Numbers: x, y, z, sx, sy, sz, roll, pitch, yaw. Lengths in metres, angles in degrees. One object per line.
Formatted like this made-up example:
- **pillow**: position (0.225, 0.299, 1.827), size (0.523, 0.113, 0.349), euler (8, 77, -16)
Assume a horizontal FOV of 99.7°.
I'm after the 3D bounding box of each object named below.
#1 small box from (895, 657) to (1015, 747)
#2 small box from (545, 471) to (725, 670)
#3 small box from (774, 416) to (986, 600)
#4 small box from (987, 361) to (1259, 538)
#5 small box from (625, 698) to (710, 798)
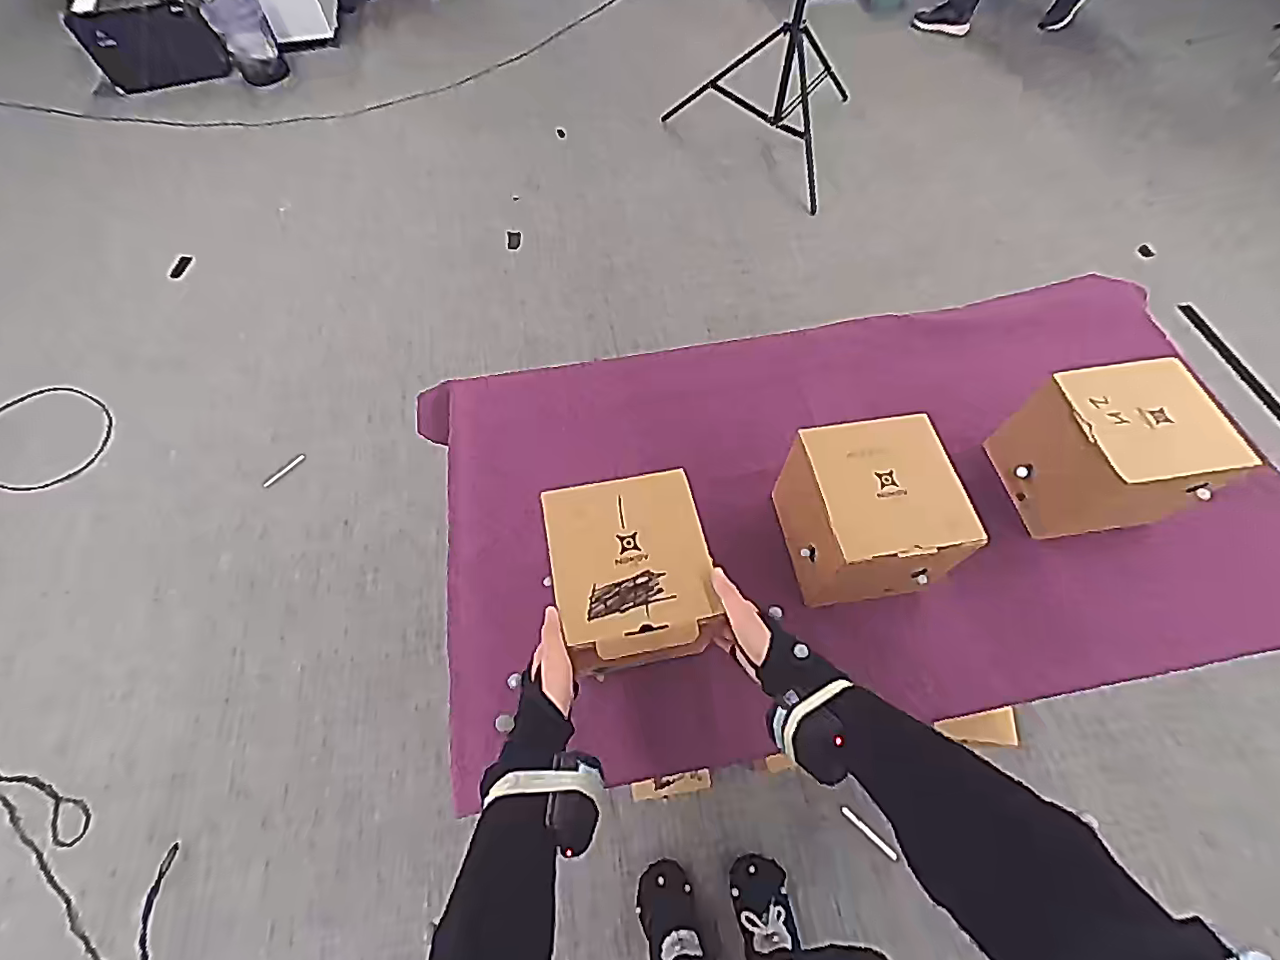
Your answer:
- **small box**: position (0.722, 0.520, 1.259), size (0.179, 0.176, 0.168), euler (5, 63, 5)
- **small box**: position (-0.012, 0.115, 0.634), size (0.168, 0.176, 0.179), euler (-9, 61, -8)
- **small box**: position (0.285, 0.045, 0.691), size (0.168, 0.176, 0.179), euler (-8, 60, -5)
- **small box**: position (0.623, -0.035, 0.728), size (0.179, 0.176, 0.168), euler (-8, 61, -3)
- **small box**: position (0.055, 0.607, 1.219), size (0.168, 0.176, 0.179), euler (-7, 60, -3)
